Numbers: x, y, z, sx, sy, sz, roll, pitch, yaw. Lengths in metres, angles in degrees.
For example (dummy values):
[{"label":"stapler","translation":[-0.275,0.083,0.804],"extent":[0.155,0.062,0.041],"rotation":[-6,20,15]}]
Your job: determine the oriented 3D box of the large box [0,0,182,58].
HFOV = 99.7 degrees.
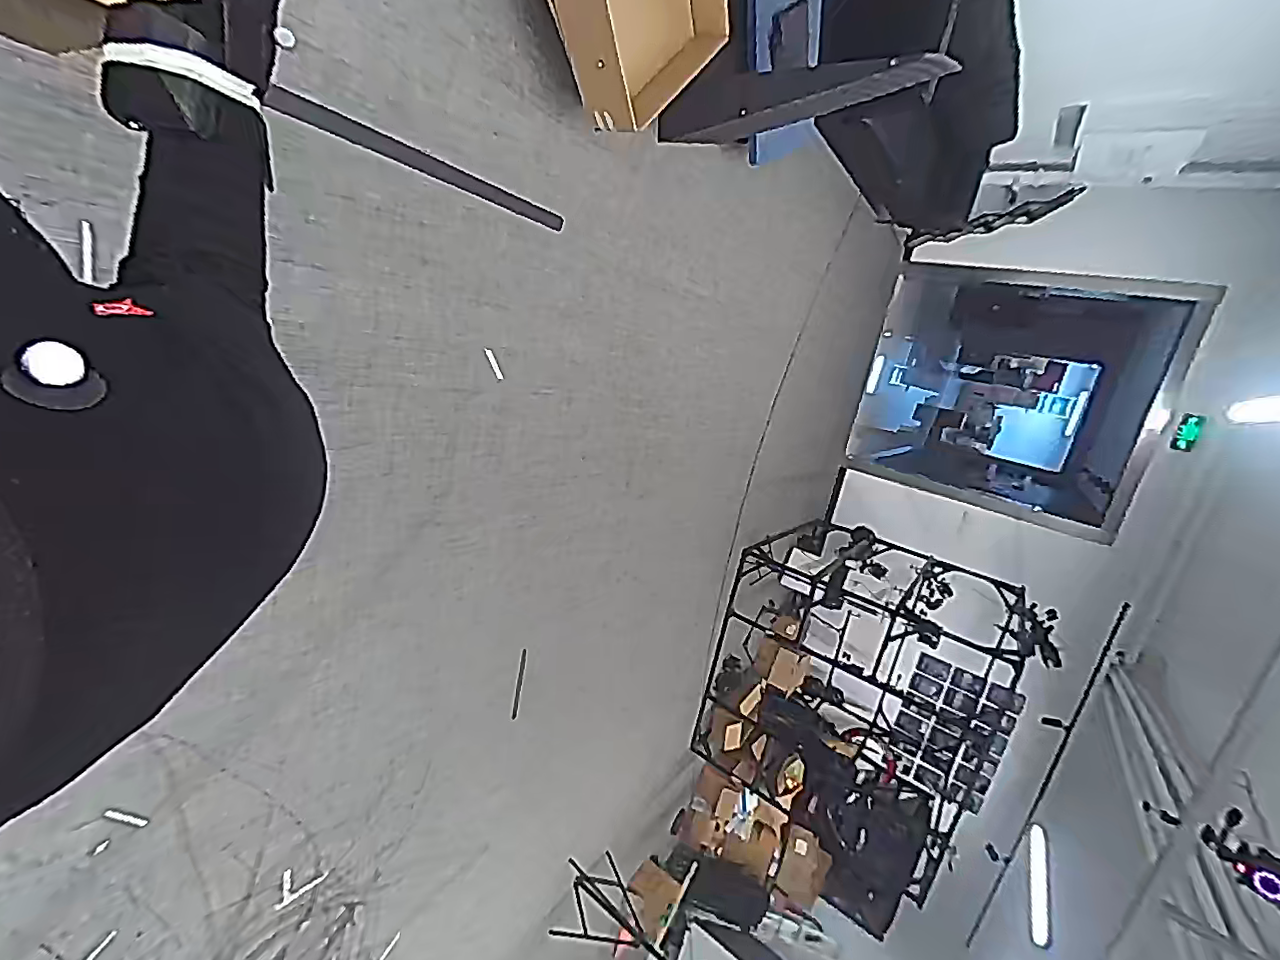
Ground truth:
[{"label":"large box","translation":[-0.504,-0.467,0.235],"extent":[0.408,0.320,0.320],"rotation":[-8,119,-58]}]
